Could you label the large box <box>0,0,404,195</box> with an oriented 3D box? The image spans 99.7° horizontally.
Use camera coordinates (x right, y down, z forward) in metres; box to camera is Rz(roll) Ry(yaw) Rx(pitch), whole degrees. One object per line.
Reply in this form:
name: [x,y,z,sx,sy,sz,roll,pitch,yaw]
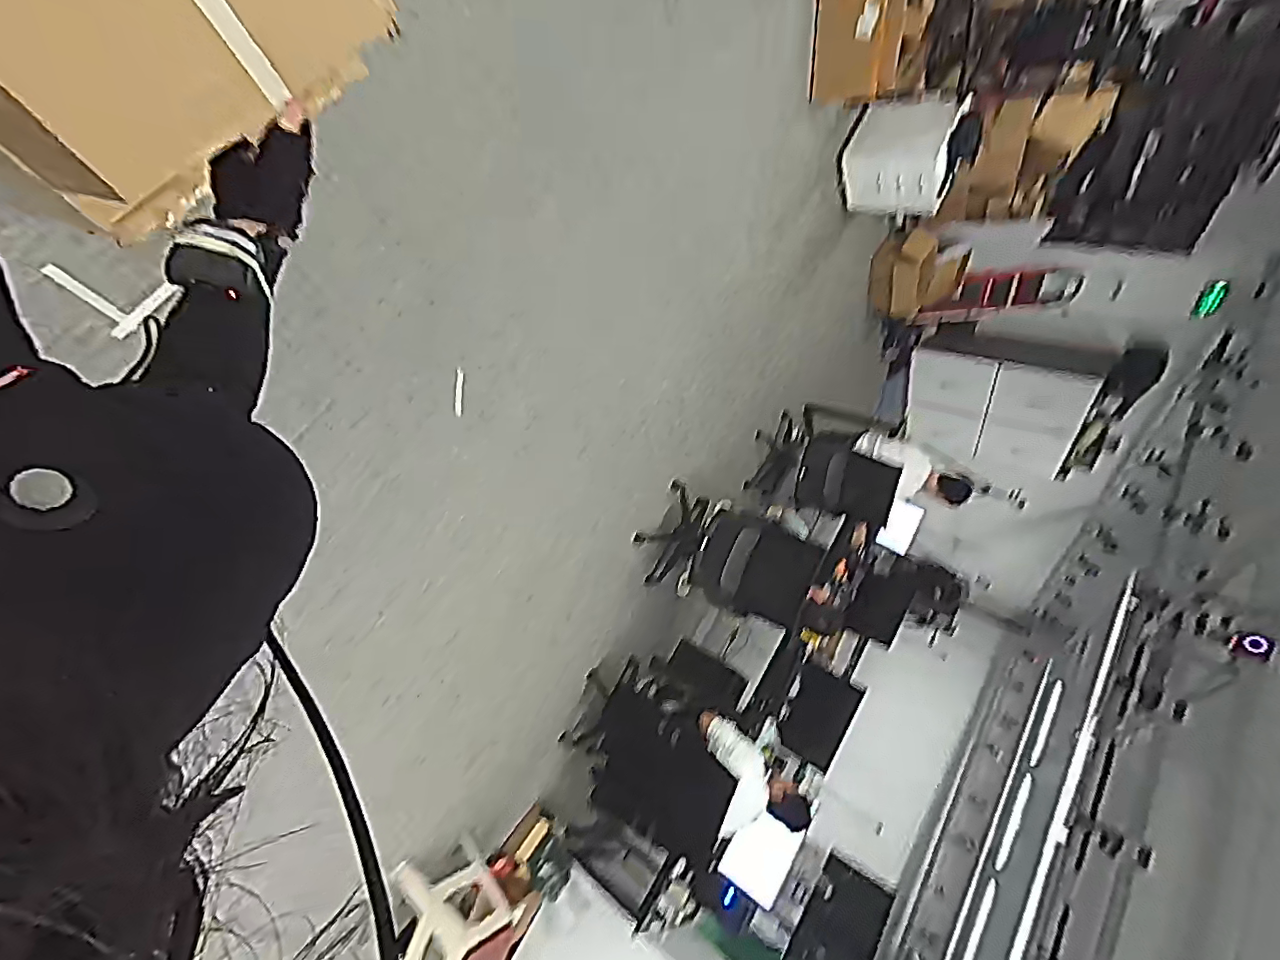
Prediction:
large box: [-0.490,-0.500,0.410,0.320,0.320,0.408,-53,146,-20]
